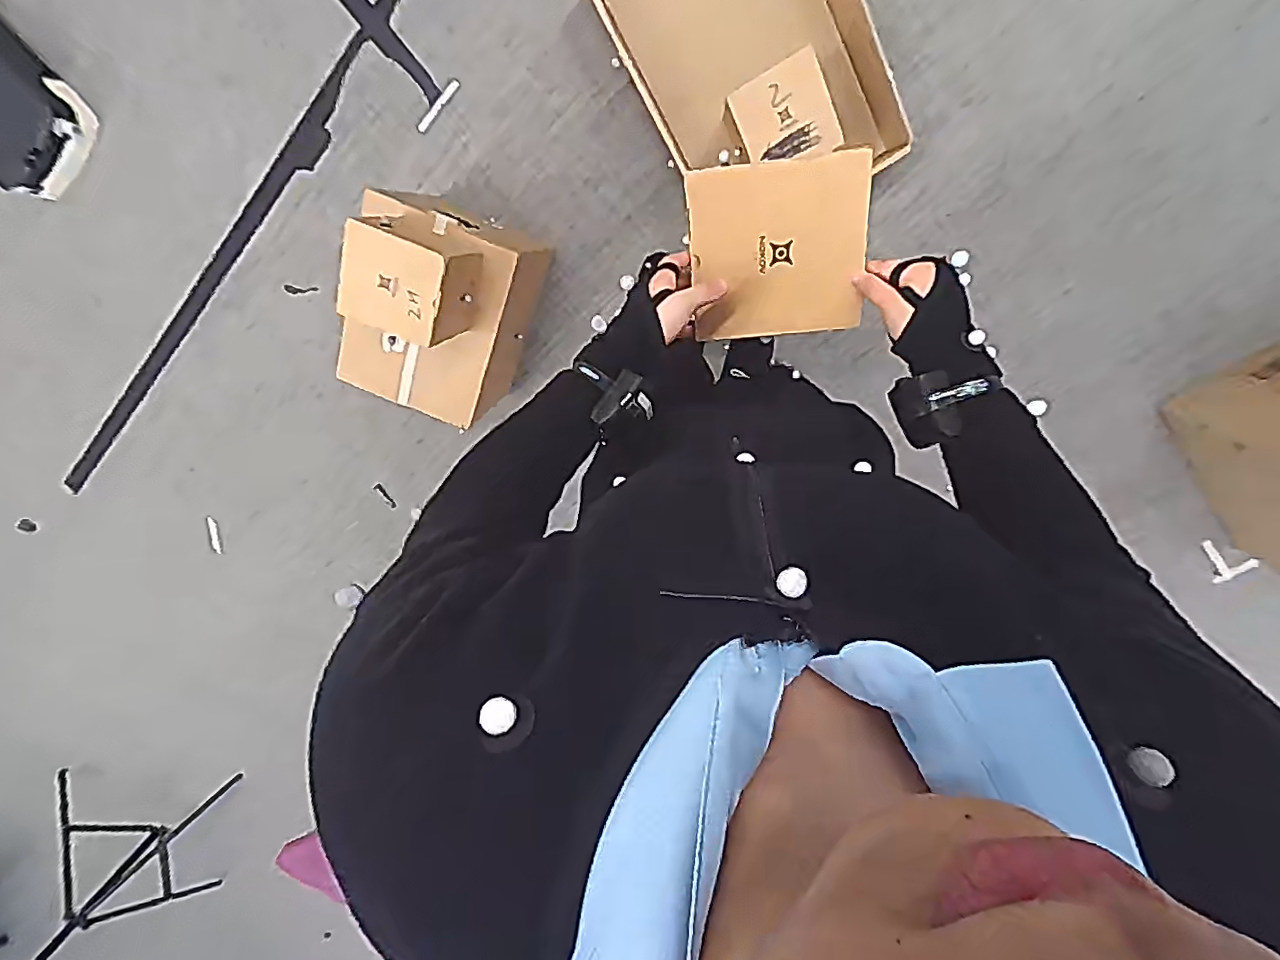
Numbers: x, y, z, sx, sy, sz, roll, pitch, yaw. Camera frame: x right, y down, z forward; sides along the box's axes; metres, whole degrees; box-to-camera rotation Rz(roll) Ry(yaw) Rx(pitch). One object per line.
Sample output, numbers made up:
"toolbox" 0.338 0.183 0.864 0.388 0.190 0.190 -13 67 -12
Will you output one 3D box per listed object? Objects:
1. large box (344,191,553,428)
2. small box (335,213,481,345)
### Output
"large box" -0.429 -0.397 1.249 0.320 0.320 0.408 22 116 -3
"small box" -0.417 -0.369 0.988 0.179 0.176 0.168 21 116 -4
